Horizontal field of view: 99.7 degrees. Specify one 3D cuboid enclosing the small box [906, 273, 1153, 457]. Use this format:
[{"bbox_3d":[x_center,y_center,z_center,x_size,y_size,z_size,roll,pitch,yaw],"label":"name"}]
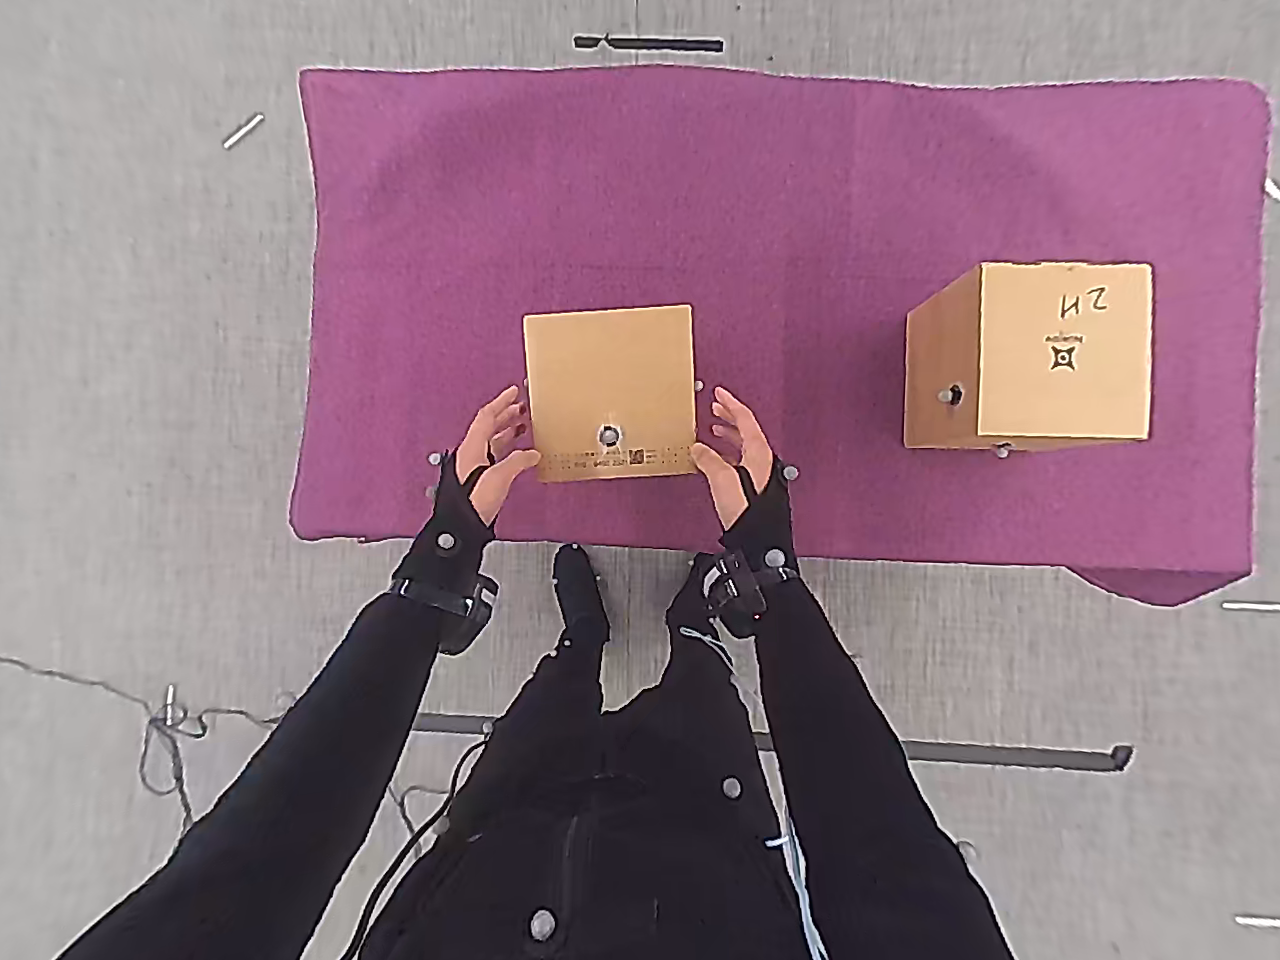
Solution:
[{"bbox_3d":[0.424,-0.118,0.618,0.168,0.176,0.179,2,89,2],"label":"small box"}]
